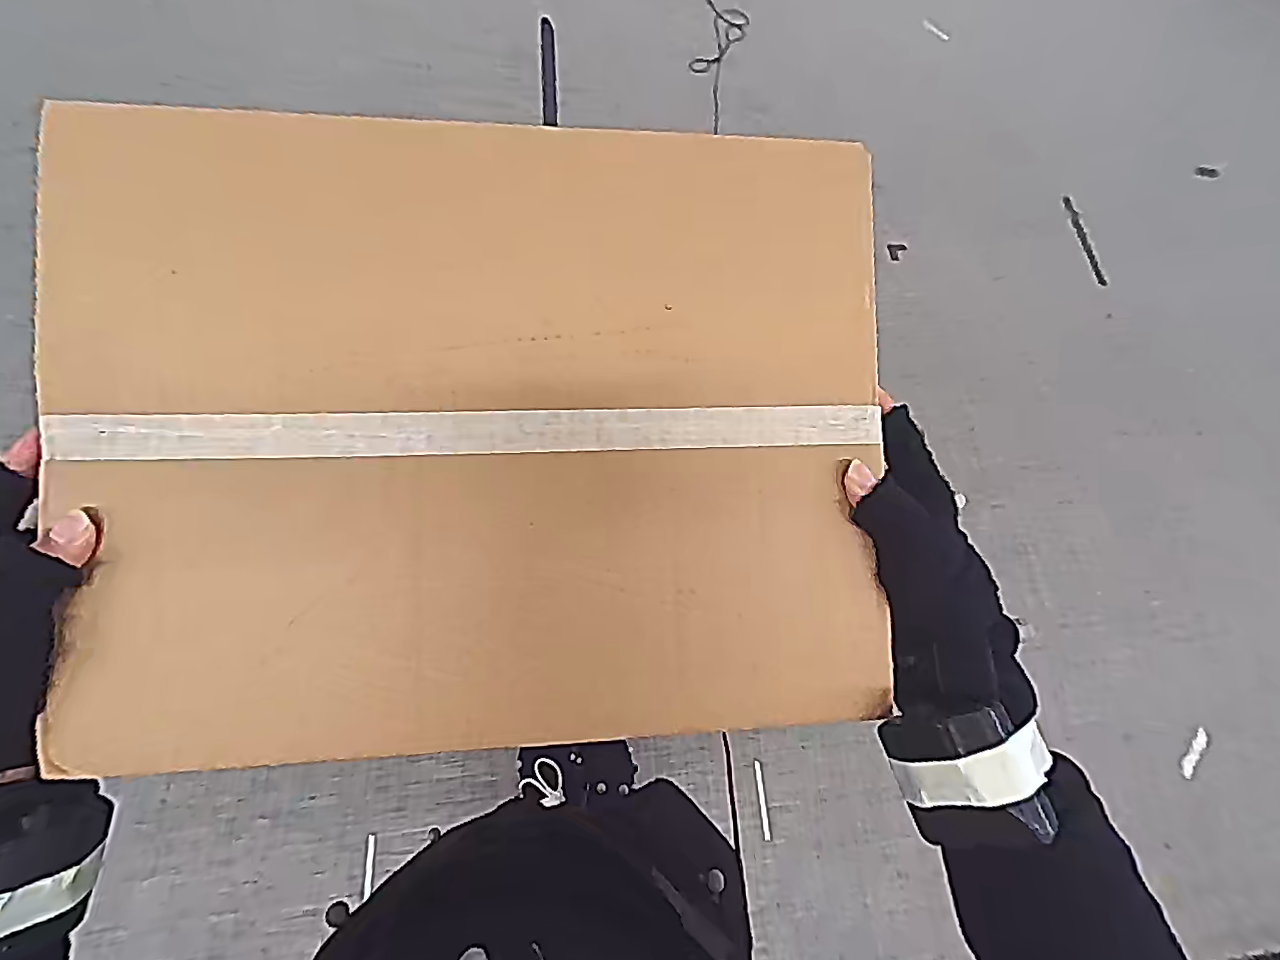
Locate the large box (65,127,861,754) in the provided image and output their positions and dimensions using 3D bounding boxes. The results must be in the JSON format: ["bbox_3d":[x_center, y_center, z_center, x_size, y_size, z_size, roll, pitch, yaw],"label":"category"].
[{"bbox_3d":[-0.092,-0.024,0.431,0.408,0.320,0.320,-1,88,-7],"label":"large box"}]
